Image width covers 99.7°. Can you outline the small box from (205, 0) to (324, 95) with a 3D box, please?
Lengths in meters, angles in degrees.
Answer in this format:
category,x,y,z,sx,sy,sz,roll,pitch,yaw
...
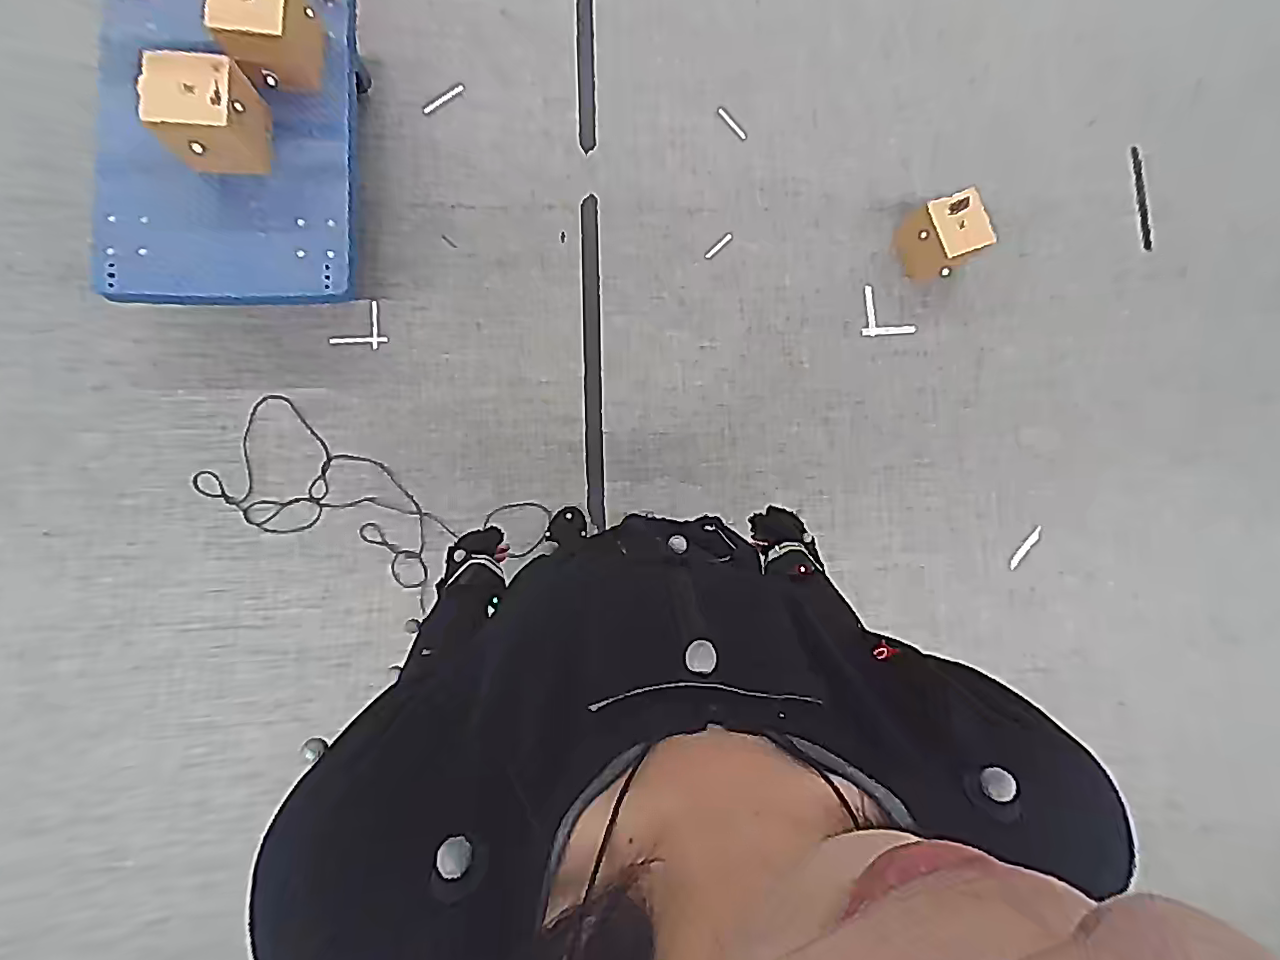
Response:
category,x,y,z,sx,sy,sz,roll,pitch,yaw
small box,-0.872,-1.060,1.274,0.168,0.176,0.179,3,86,-4

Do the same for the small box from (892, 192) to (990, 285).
category,x,y,z,sx,sy,sz,roll,pitch,yaw
small box,0.900,-0.722,1.633,0.168,0.176,0.179,-21,88,-7

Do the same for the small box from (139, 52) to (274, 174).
category,x,y,z,sx,sy,sz,roll,pitch,yaw
small box,-0.985,-0.833,1.241,0.179,0.176,0.168,0,86,-5
